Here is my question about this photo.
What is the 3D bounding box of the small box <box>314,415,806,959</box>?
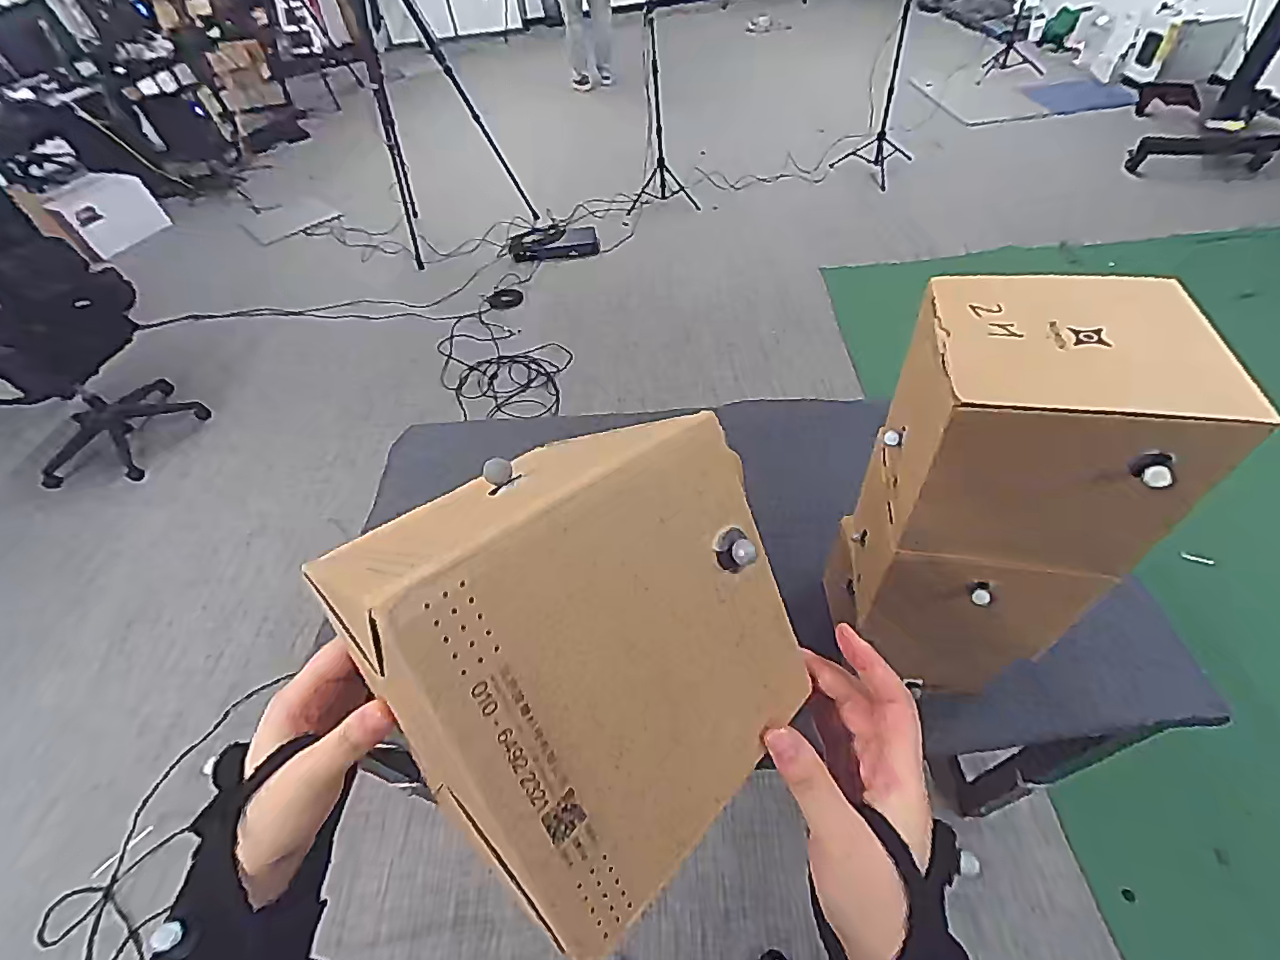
[{"bbox_3d":[-0.049,0.081,0.292,0.176,0.168,0.179,-32,17,-35],"label":"small box"}]

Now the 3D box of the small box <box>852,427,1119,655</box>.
[{"bbox_3d":[0.329,0.065,0.562,0.179,0.176,0.168,4,49,14],"label":"small box"}]

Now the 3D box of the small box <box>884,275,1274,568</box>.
[{"bbox_3d":[0.313,-0.046,0.440,0.179,0.176,0.168,6,49,15],"label":"small box"}]

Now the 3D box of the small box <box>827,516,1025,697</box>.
[{"bbox_3d":[0.347,0.160,0.693,0.168,0.176,0.179,-4,49,6],"label":"small box"}]
